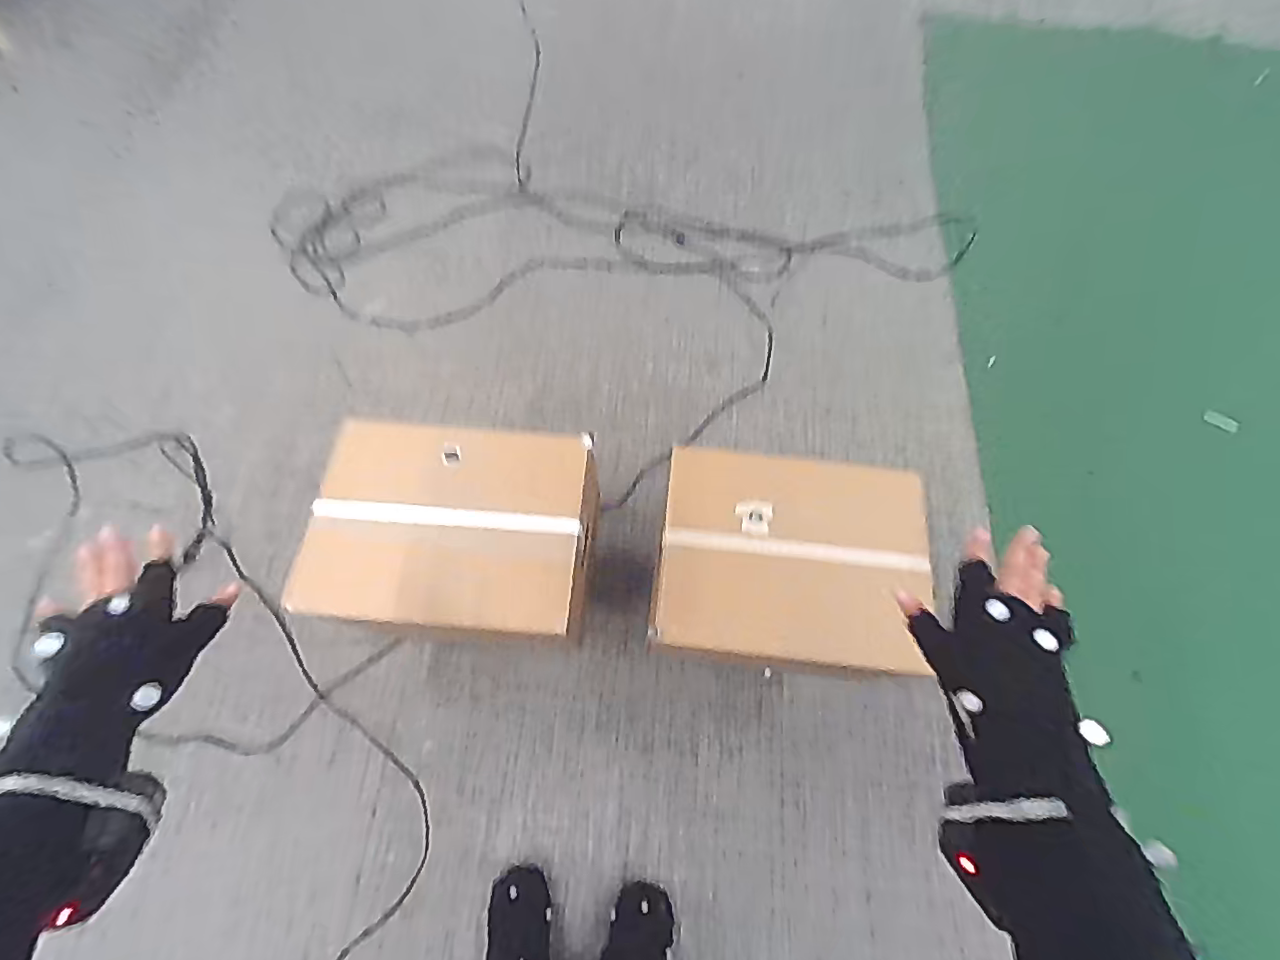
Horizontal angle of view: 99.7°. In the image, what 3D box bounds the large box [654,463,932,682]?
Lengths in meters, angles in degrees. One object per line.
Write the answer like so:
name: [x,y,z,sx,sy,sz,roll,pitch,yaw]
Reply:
large box: [0.243,0.185,0.979,0.408,0.320,0.320,6,67,2]
